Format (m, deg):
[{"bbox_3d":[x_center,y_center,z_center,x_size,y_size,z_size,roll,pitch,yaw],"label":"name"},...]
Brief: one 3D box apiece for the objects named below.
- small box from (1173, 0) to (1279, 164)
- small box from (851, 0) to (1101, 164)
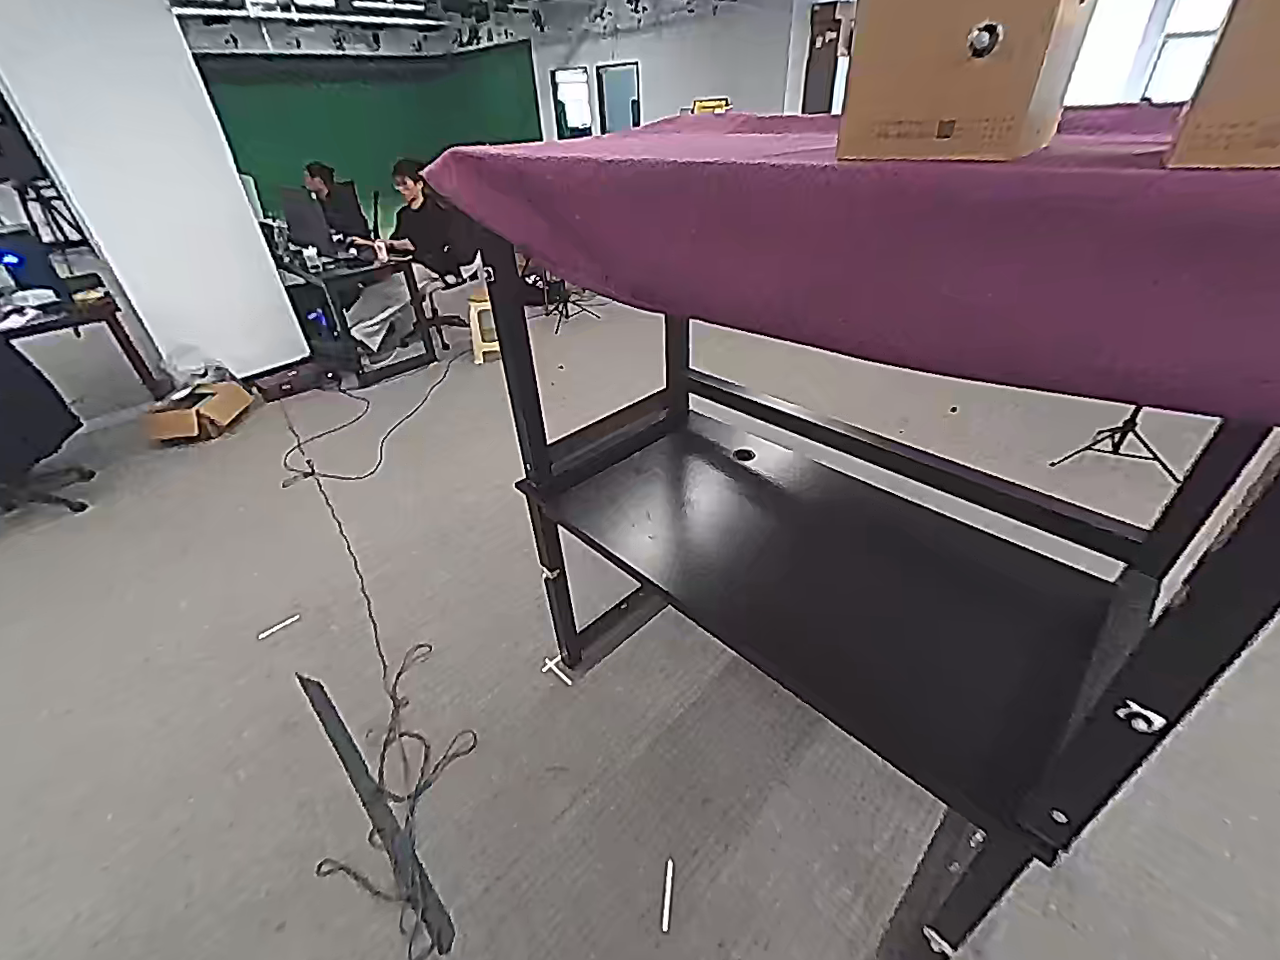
[{"bbox_3d":[0.496,-0.308,0.355,0.168,0.176,0.179,22,41,33],"label":"small box"},{"bbox_3d":[0.323,-0.411,0.527,0.168,0.176,0.179,26,43,34],"label":"small box"}]
